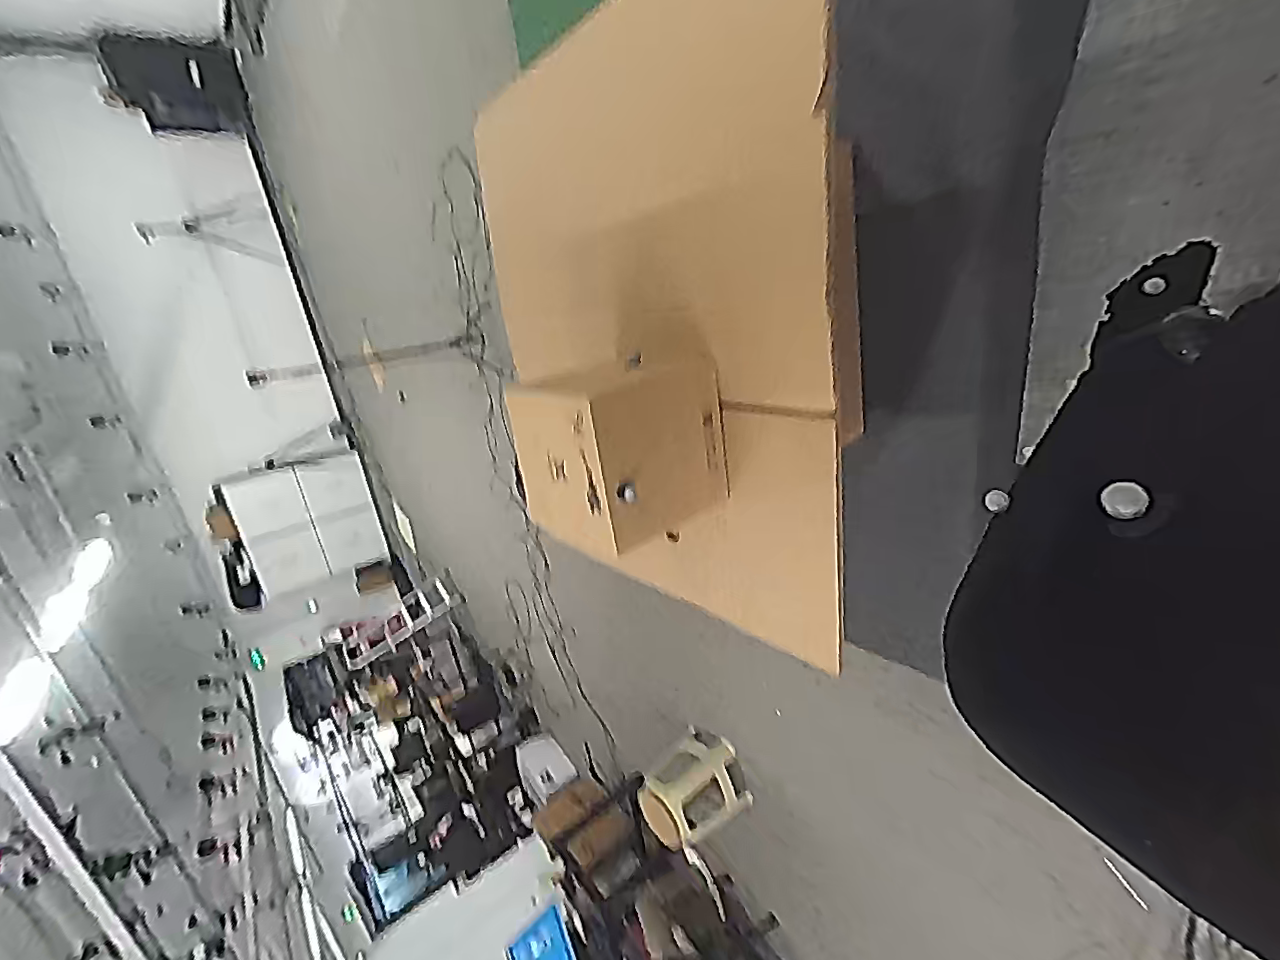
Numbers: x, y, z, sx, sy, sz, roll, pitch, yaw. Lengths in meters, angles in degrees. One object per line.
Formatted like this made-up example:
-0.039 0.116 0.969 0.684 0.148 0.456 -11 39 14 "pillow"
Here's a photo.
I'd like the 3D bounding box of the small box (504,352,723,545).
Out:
-0.028 -0.049 0.620 0.179 0.176 0.168 15 120 50 "small box"
